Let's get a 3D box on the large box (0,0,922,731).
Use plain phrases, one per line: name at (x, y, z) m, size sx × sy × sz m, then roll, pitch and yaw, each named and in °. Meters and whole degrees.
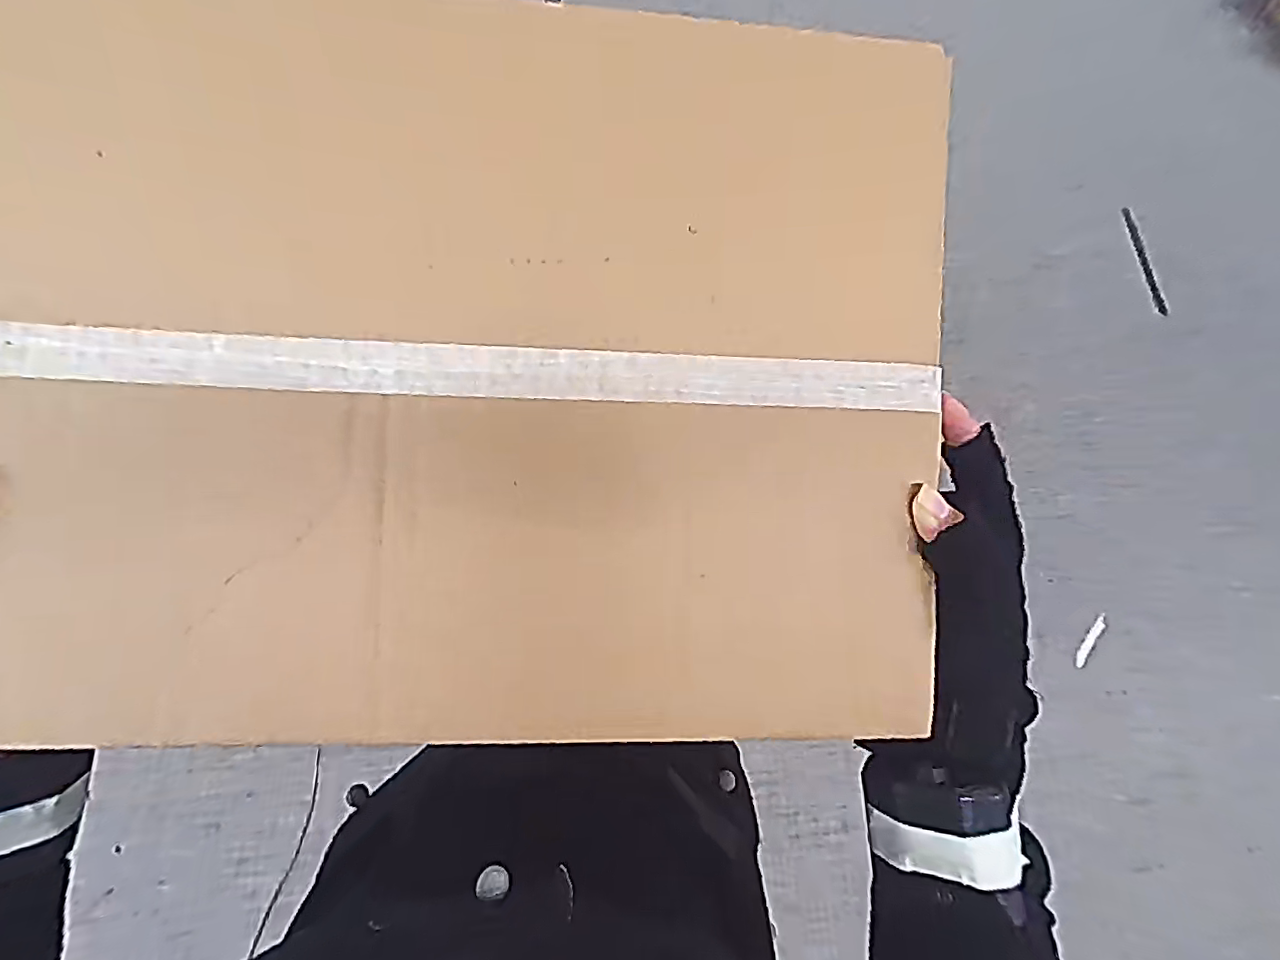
large box at (-0.078, -0.047, 0.388) m, size 0.408 × 0.320 × 0.320 m, roll 2°, pitch 90°, yaw -5°
